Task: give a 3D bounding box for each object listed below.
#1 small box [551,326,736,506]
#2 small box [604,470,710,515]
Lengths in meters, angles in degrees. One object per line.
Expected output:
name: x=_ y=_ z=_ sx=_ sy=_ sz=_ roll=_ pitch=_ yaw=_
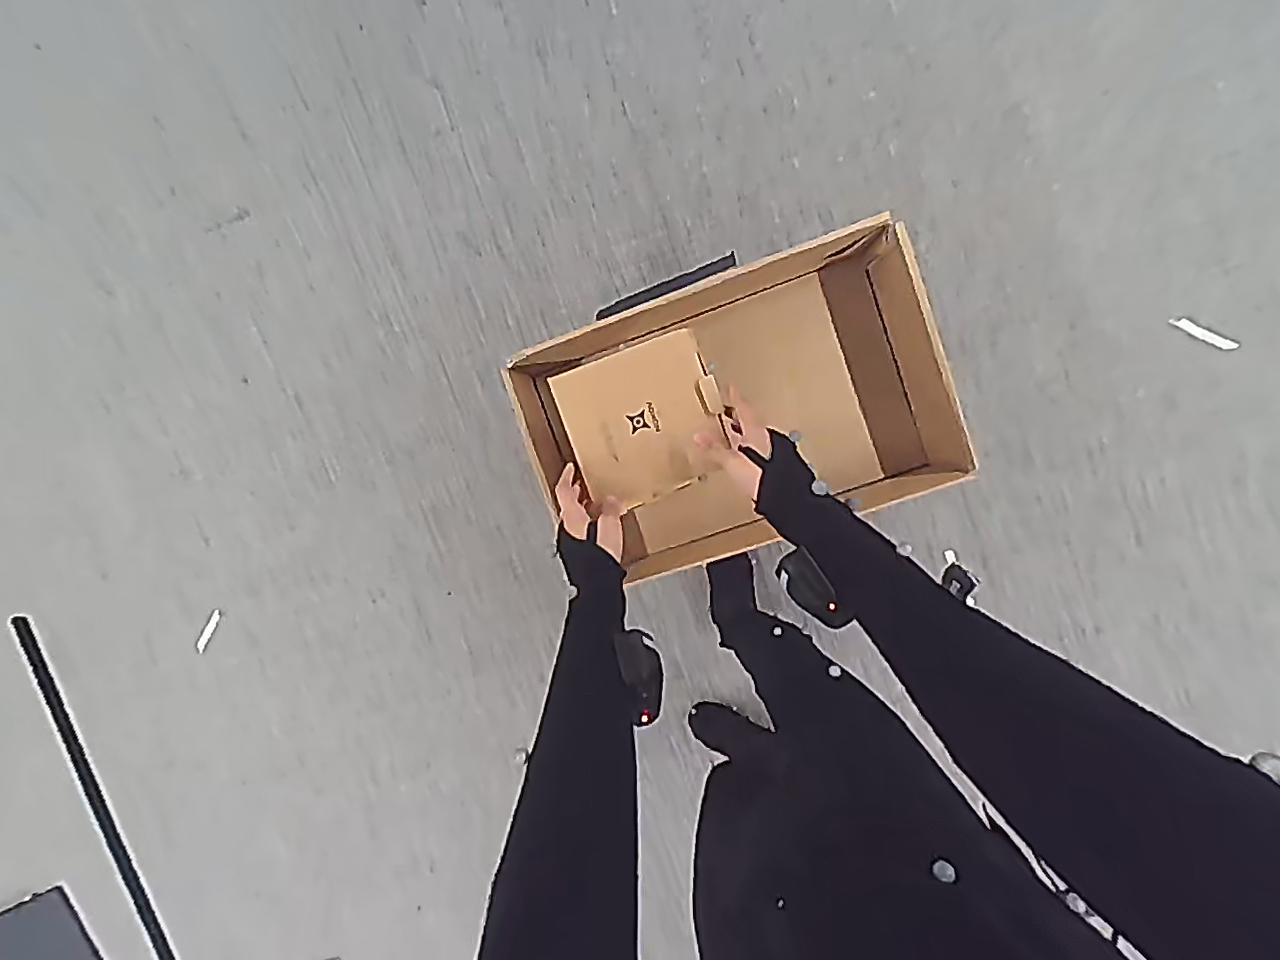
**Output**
small box: x=0.009 y=-0.079 z=0.696 sx=0.179 sy=0.176 sz=0.168 roll=-19 pitch=93 yaw=6
small box: x=0.001 y=-0.063 z=0.863 sx=0.168 sy=0.176 sz=0.179 roll=-24 pitch=93 yaw=7
